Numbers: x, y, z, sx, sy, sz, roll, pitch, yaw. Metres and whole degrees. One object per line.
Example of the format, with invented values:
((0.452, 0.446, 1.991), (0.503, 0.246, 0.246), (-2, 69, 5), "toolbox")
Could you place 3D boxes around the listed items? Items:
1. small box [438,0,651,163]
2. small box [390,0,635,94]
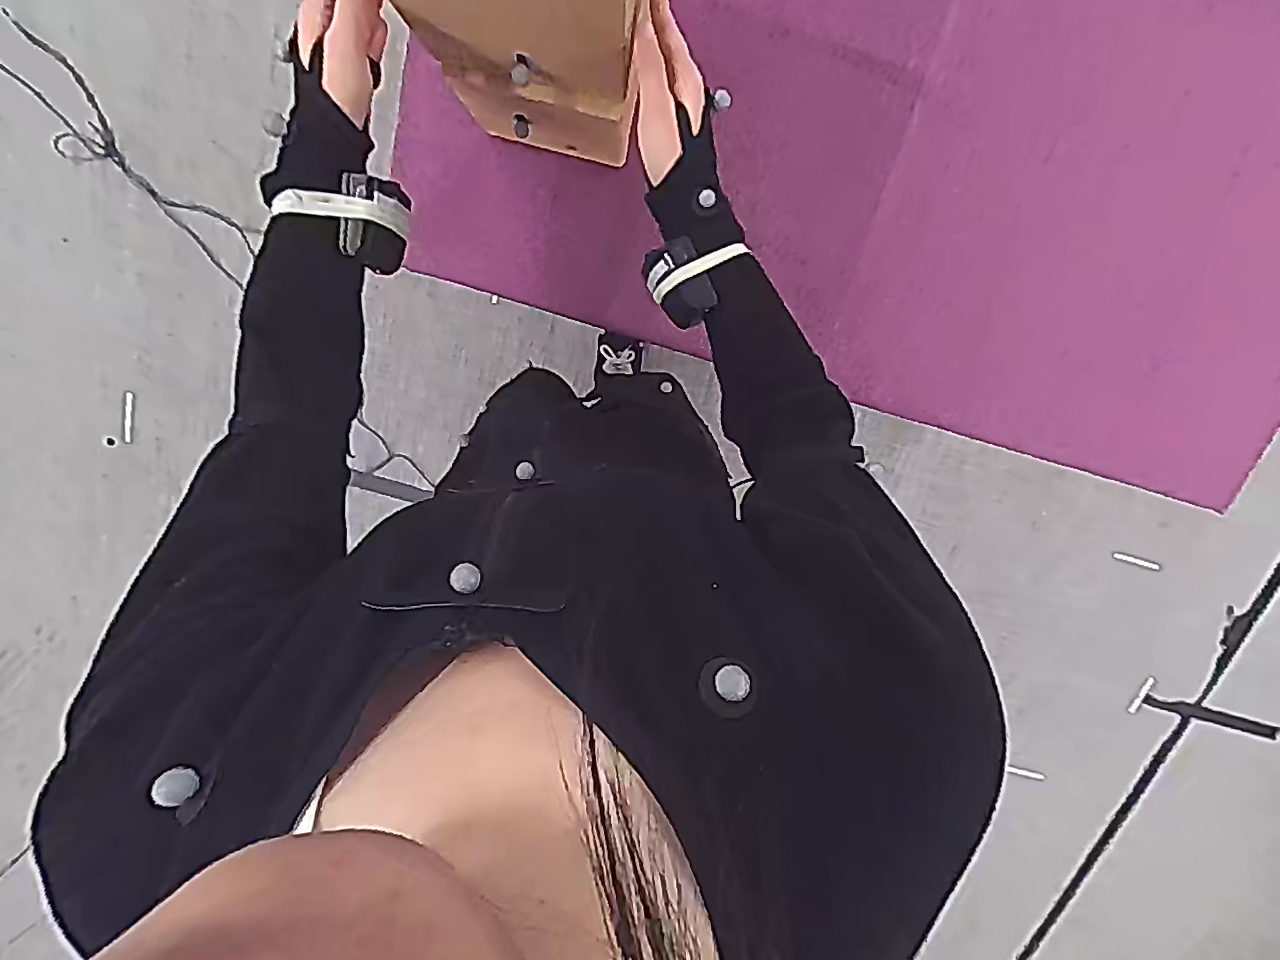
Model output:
((-0.083, -0.446, 0.539), (0.168, 0.176, 0.179), (12, 105, -5), "small box")
((-0.083, -0.407, 0.379), (0.179, 0.176, 0.168), (10, 104, -5), "small box")
